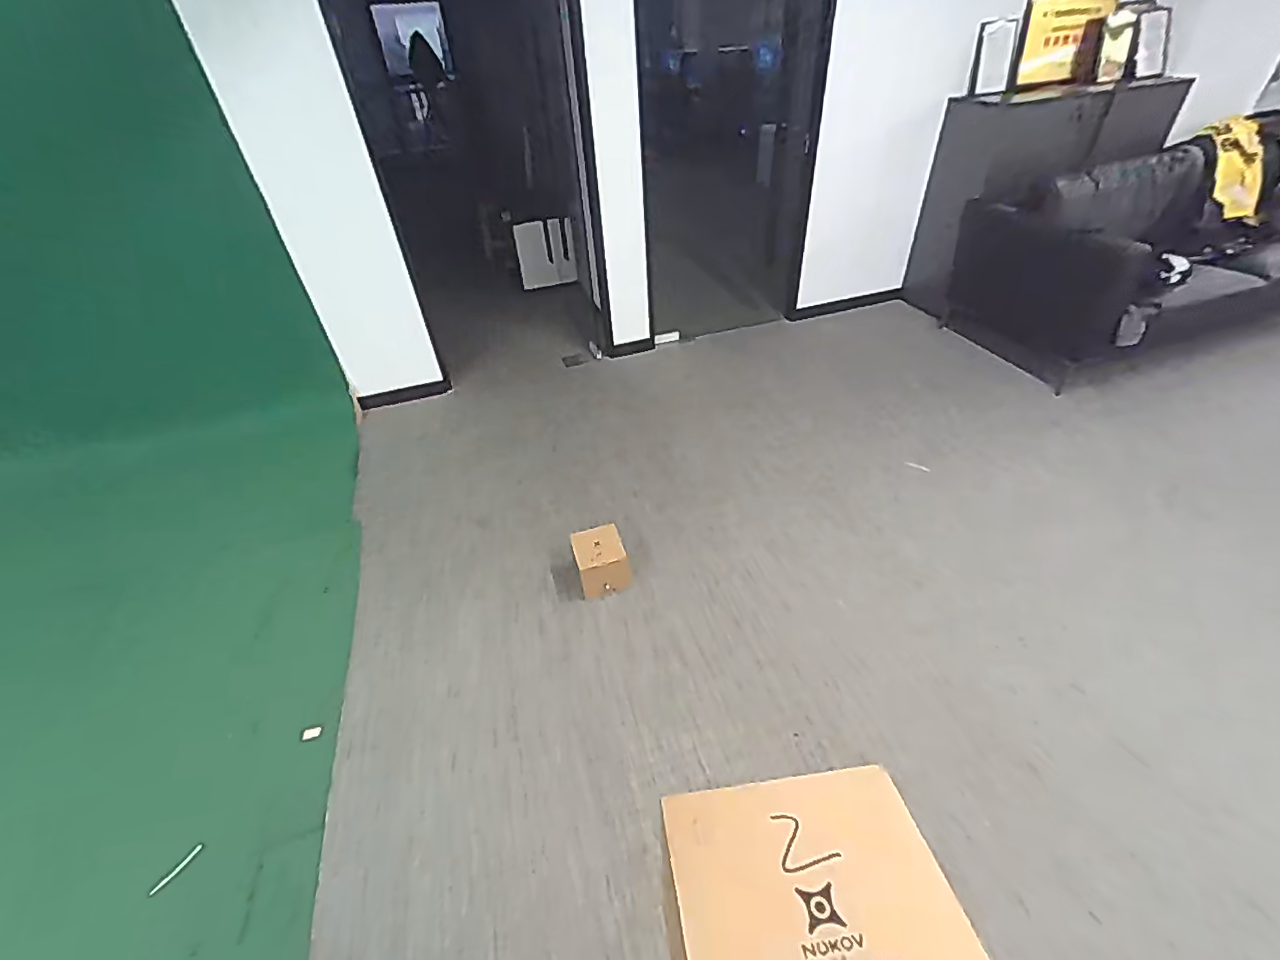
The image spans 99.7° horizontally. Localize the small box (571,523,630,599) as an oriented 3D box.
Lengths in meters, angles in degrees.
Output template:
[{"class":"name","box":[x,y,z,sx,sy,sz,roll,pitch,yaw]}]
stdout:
[{"class":"small box","box":[-0.139,0.282,1.886,0.168,0.176,0.179,-14,42,-10]}]
